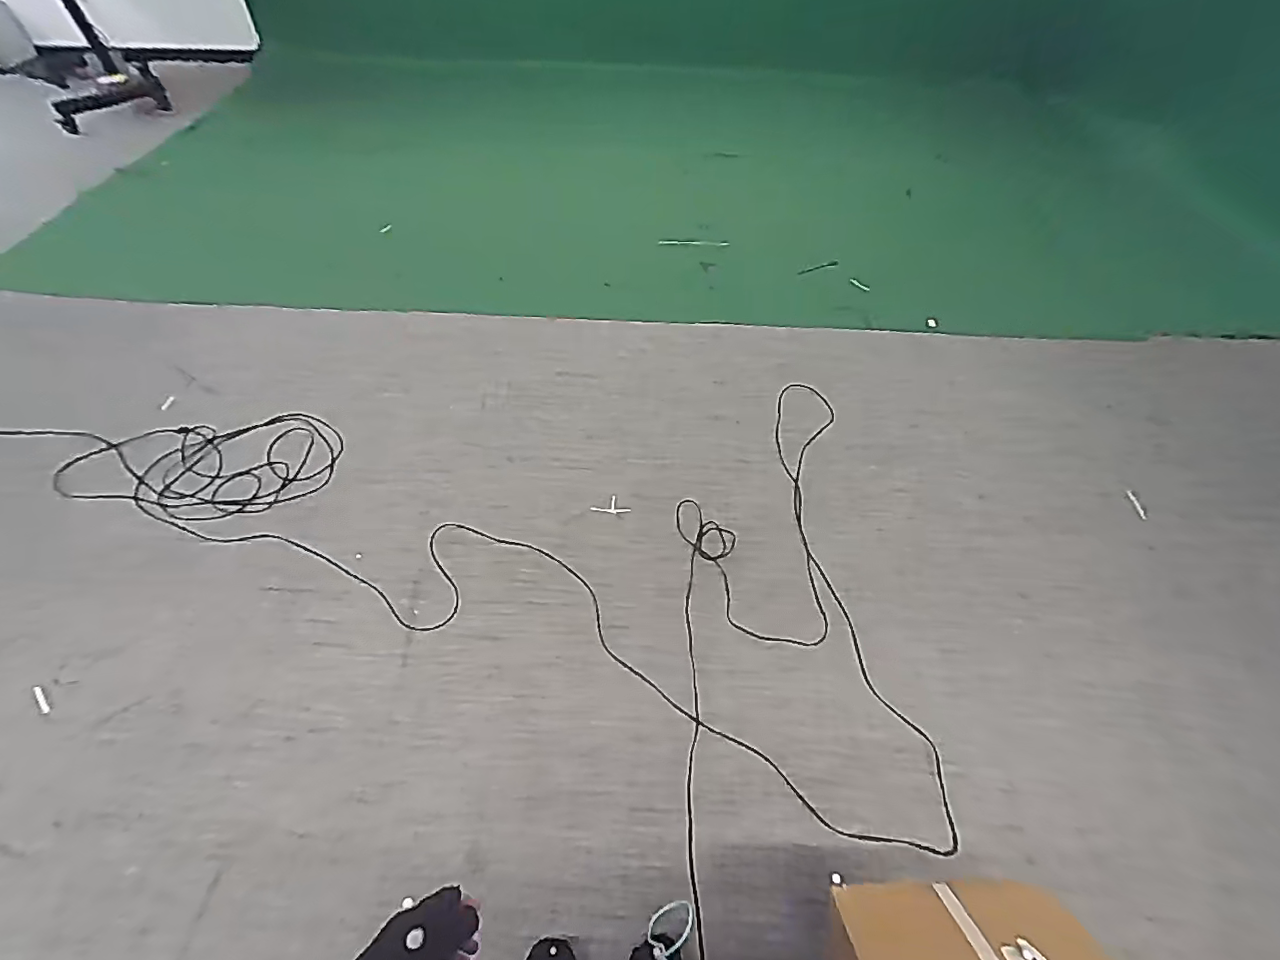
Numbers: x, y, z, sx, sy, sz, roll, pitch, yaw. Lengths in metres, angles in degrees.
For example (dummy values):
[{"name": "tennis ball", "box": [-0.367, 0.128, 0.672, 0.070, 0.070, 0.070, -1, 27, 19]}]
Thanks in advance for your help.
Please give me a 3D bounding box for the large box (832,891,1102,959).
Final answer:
[{"name": "large box", "box": [0.438, 0.763, 0.603, 0.320, 0.408, 0.320, -2, 89, 3]}]
